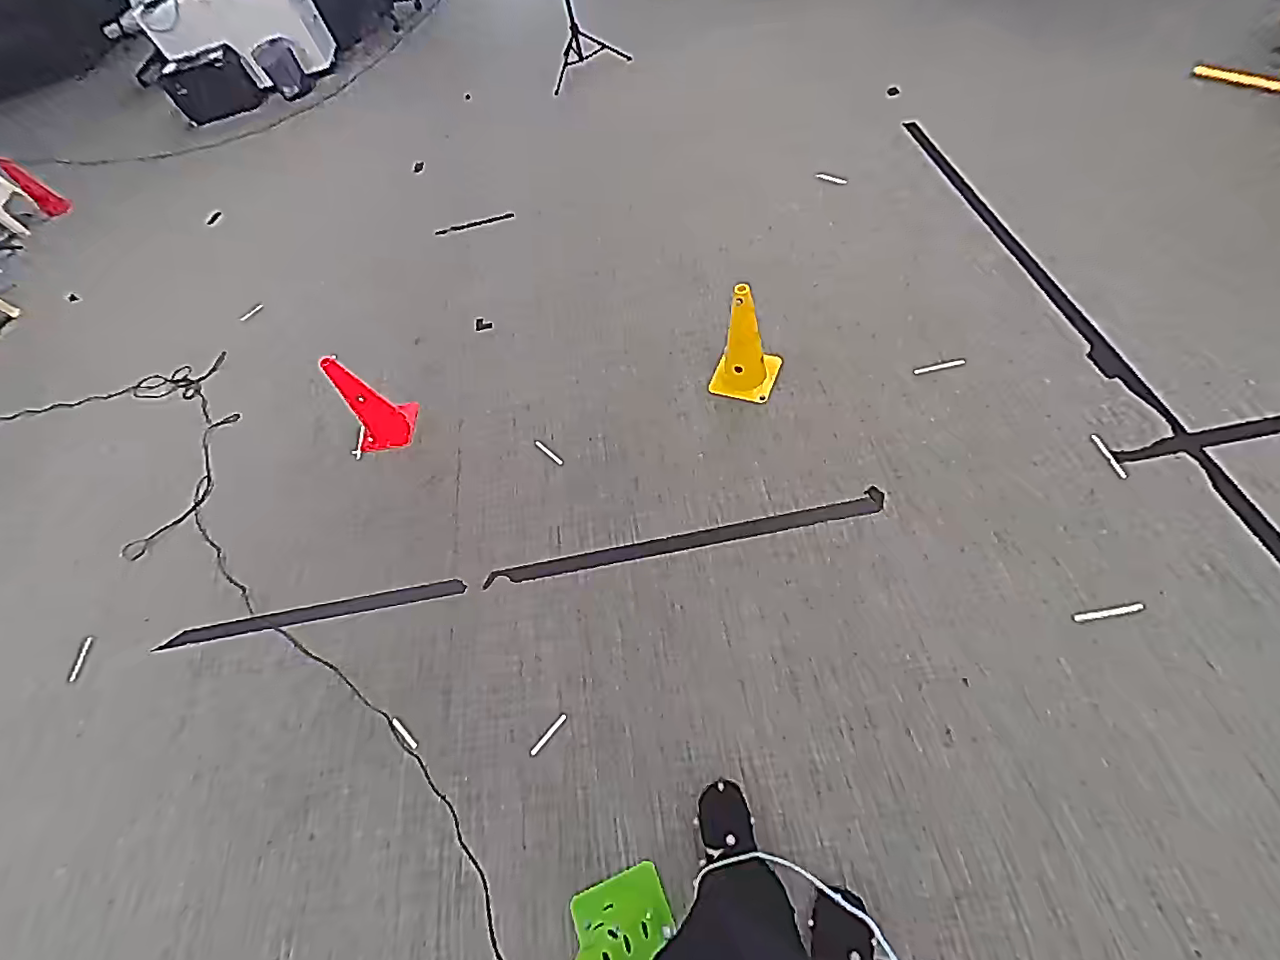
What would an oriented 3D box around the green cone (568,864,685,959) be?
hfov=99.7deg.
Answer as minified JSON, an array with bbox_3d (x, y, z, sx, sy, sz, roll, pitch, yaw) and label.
[{"bbox_3d":[-0.065,0.848,0.965,0.202,0.368,0.200,-26,56,-2],"label":"green cone"}]

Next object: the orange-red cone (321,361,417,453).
[{"bbox_3d":[-0.958,-0.275,1.857,0.199,0.360,0.198,-6,59,8],"label":"orange-red cone"}]
